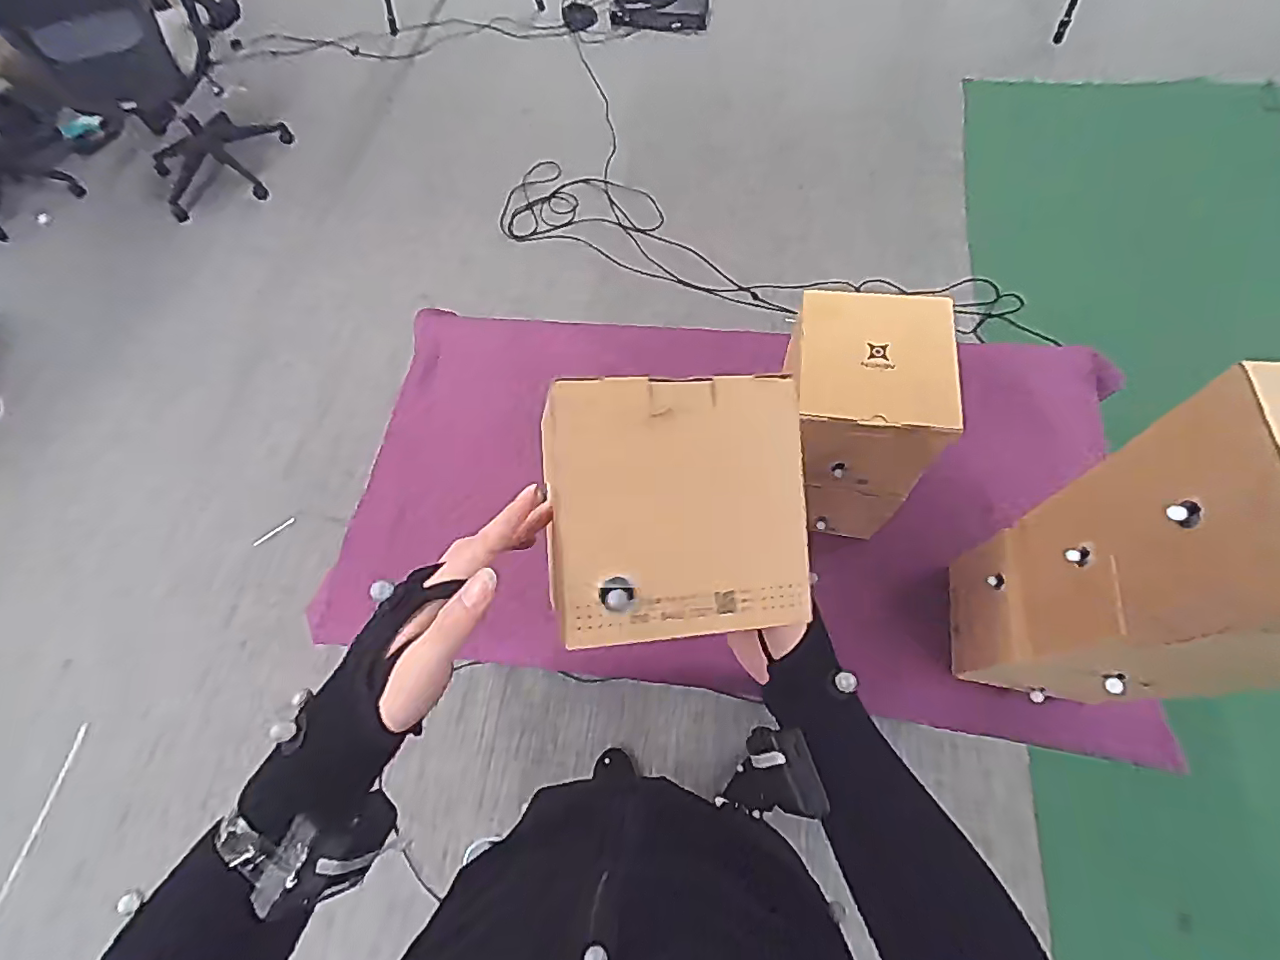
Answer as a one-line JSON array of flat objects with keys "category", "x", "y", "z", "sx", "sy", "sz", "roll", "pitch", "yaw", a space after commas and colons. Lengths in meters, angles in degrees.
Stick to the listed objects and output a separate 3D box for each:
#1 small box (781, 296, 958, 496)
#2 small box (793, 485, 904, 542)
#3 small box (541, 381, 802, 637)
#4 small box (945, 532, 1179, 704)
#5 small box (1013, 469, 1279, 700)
[{"category": "small box", "x": 0.265, "y": -0.097, "z": 0.669, "sx": 0.168, "sy": 0.176, "sz": 0.179, "roll": 7, "pitch": 67, "yaw": 8}, {"category": "small box", "x": 0.285, "y": -0.026, "z": 0.812, "sx": 0.168, "sy": 0.176, "sz": 0.179, "roll": 9, "pitch": 67, "yaw": 10}, {"category": "small box", "x": 0.013, "y": 0.023, "z": 0.429, "sx": 0.168, "sy": 0.179, "sz": 0.176, "roll": -2, "pitch": 87, "yaw": -15}, {"category": "small box", "x": 0.521, "y": 0.184, "z": 0.695, "sx": 0.179, "sy": 0.176, "sz": 0.168, "roll": 9, "pitch": 66, "yaw": 9}, {"category": "small box", "x": 0.509, "y": 0.112, "z": 0.549, "sx": 0.168, "sy": 0.176, "sz": 0.179, "roll": 8, "pitch": 66, "yaw": 11}]
